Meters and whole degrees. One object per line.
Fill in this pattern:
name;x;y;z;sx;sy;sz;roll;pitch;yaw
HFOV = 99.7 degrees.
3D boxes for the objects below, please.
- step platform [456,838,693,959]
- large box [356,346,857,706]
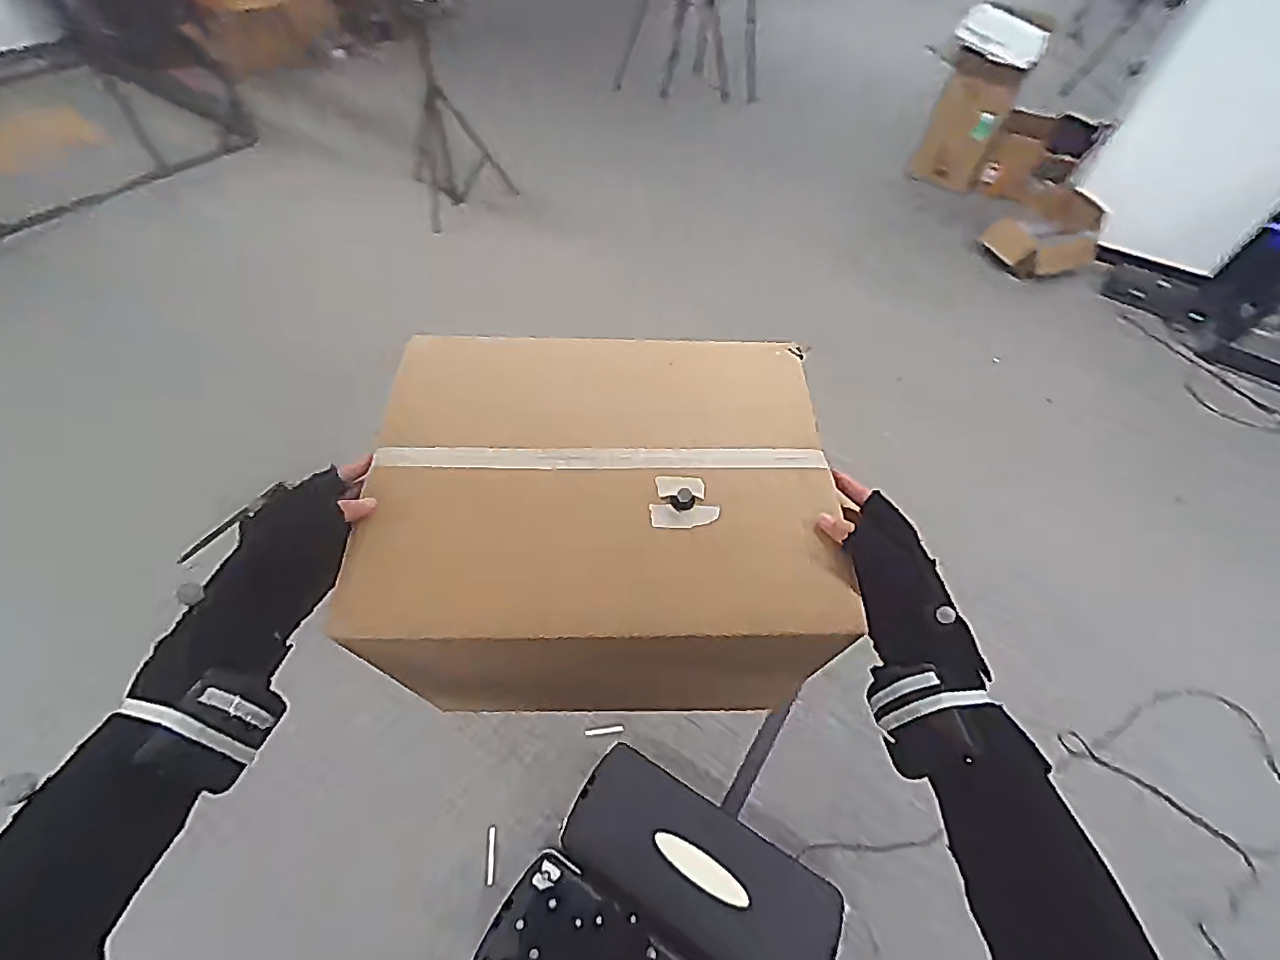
step platform;-0.051;1.095;1.142;0.684;0.204;0.286;27;57;17
large box;-0.033;0.069;0.626;0.408;0.320;0.320;2;58;-3
